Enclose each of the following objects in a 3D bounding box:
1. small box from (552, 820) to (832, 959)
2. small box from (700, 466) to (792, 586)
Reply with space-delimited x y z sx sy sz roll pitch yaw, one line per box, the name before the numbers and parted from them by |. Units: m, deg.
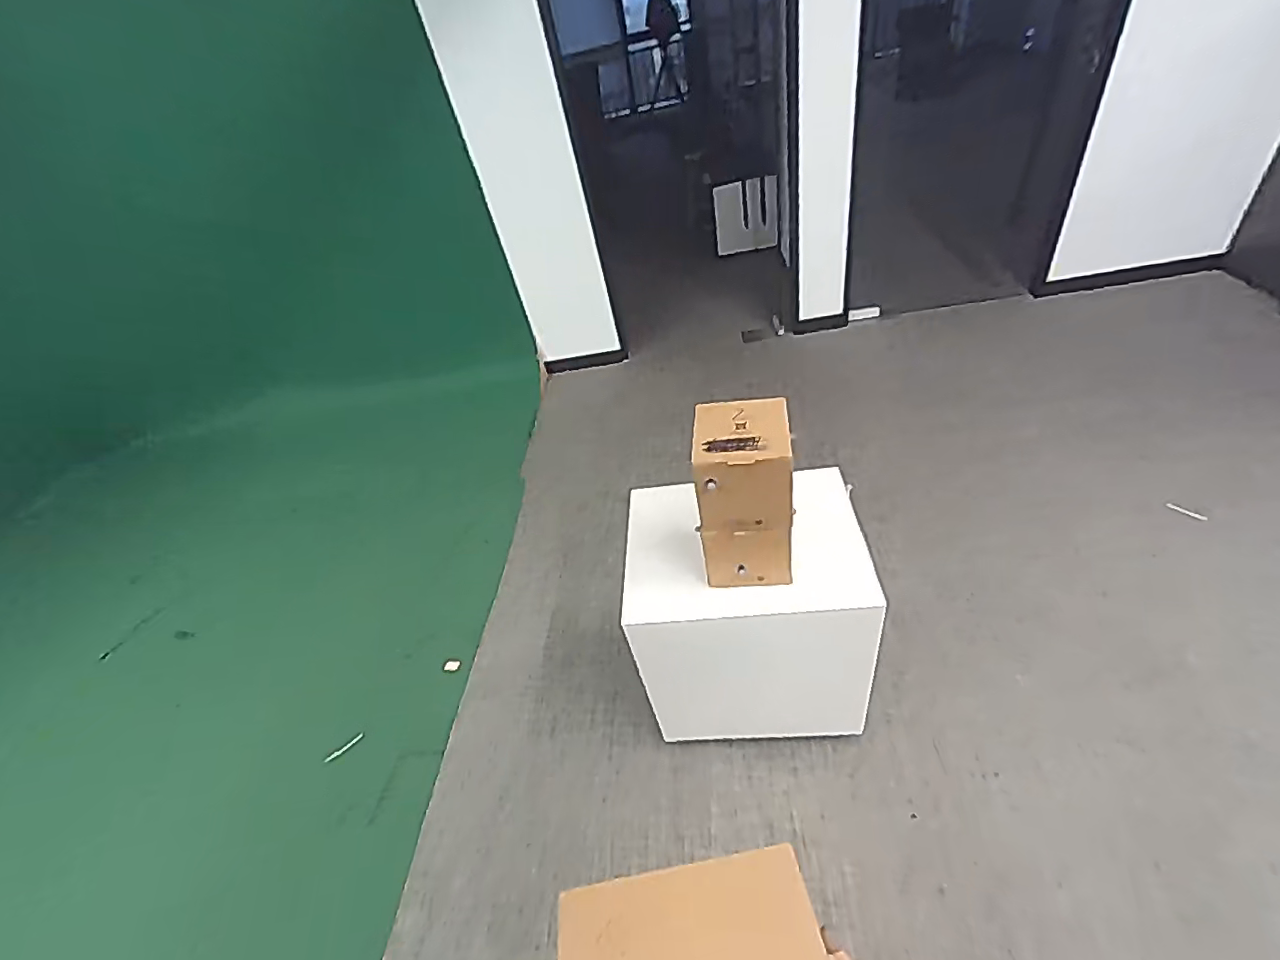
small box | 0.044 0.360 0.339 0.168 0.176 0.179 -13 32 -1
small box | 0.213 0.093 1.092 0.168 0.176 0.179 -5 40 11
